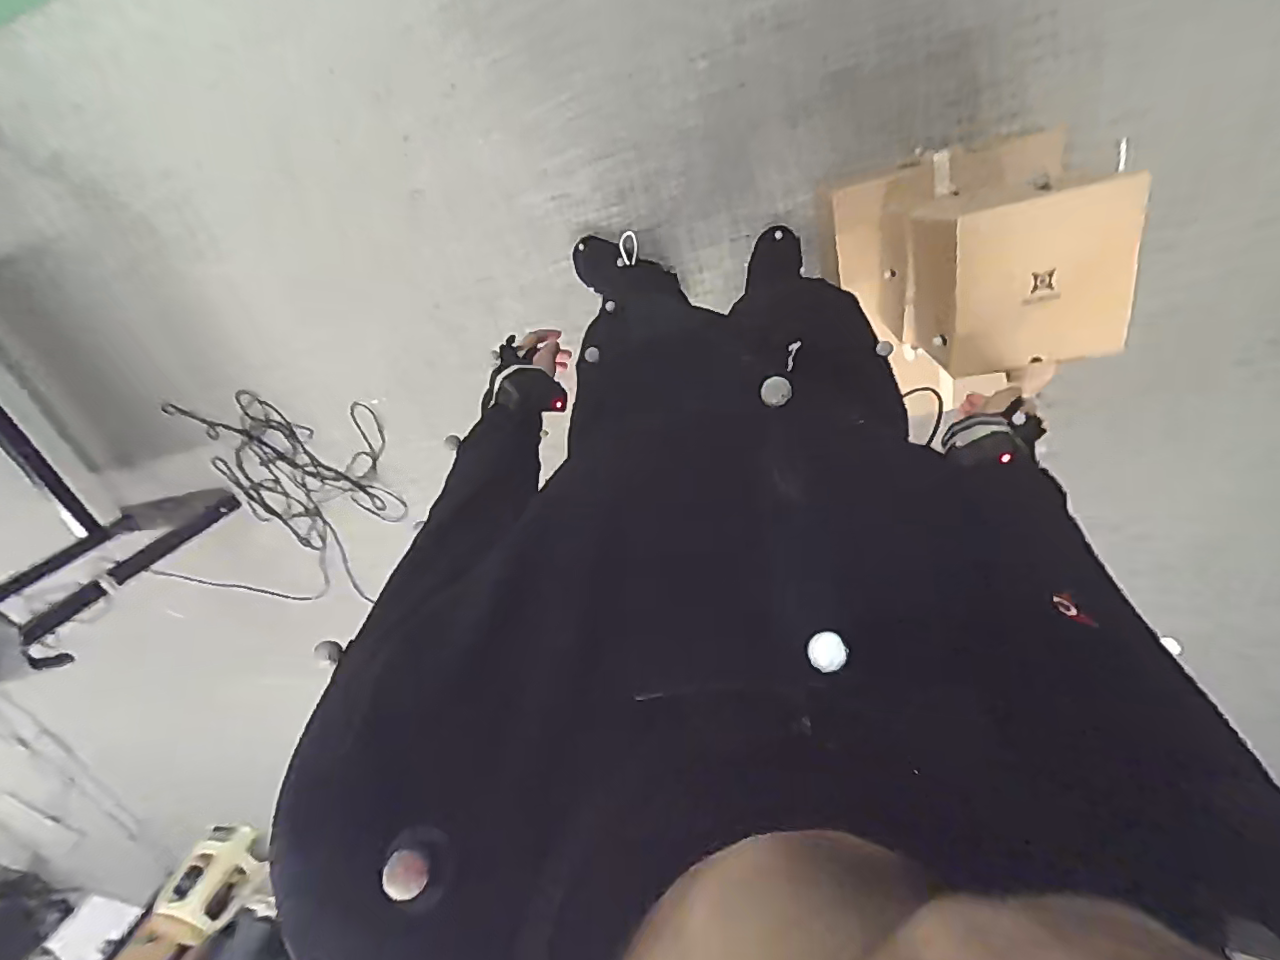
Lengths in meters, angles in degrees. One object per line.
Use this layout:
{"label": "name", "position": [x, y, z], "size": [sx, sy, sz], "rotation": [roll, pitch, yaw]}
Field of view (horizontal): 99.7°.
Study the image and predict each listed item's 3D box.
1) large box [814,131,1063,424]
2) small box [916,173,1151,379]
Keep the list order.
{"label": "large box", "position": [0.524, -0.371, 1.008], "size": [0.320, 0.320, 0.408], "rotation": [-8, 118, 17]}
{"label": "small box", "position": [0.430, -0.238, 0.627], "size": [0.168, 0.176, 0.179], "rotation": [-8, 118, 15]}
